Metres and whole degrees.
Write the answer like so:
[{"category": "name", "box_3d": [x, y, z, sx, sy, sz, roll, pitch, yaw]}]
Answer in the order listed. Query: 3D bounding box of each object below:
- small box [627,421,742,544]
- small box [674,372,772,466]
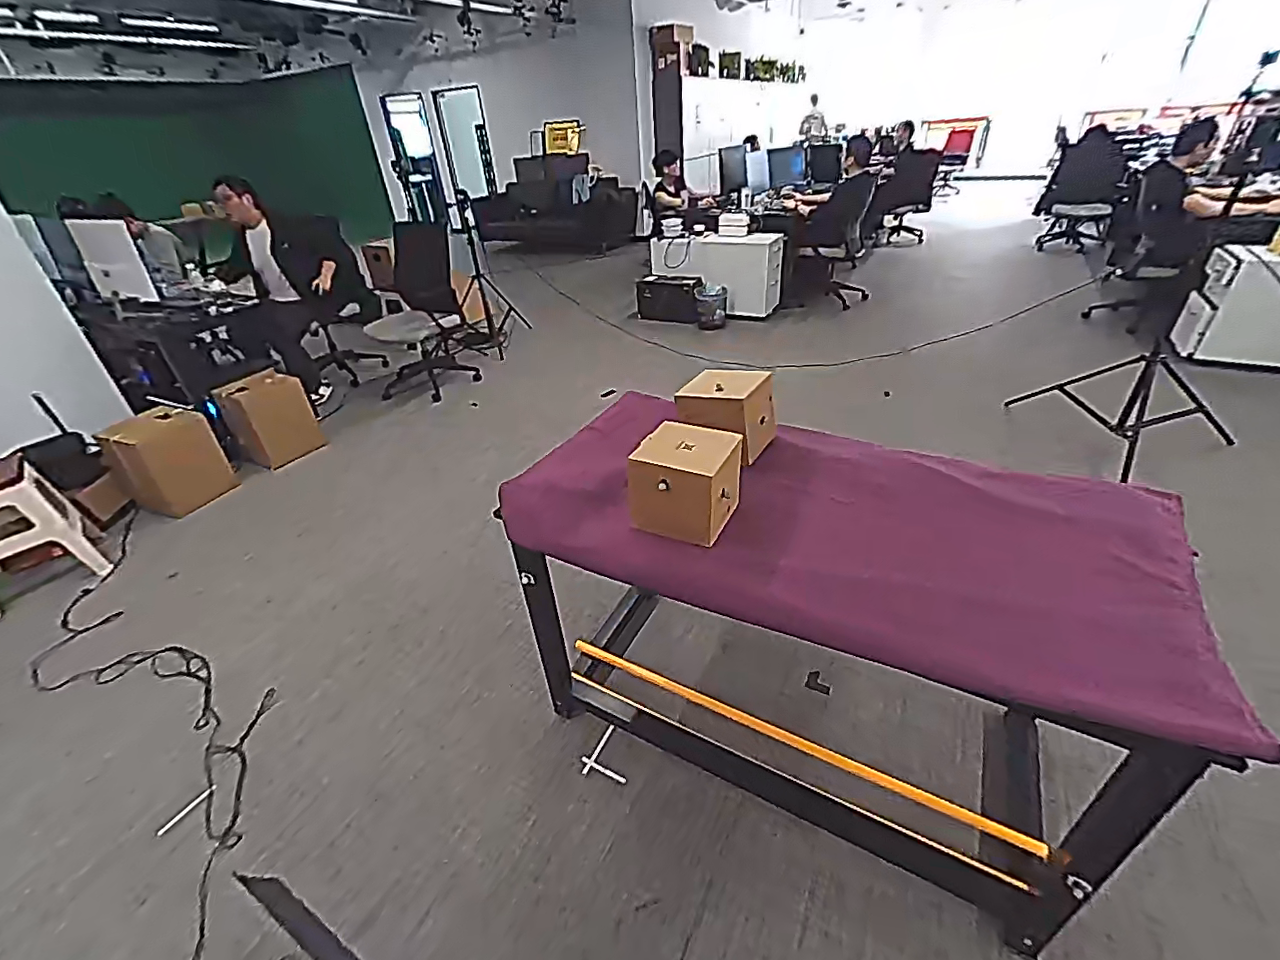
[{"category": "small box", "box_3d": [0.094, 0.005, 1.080, 0.179, 0.176, 0.168, 13, 37, 25]}, {"category": "small box", "box_3d": [0.204, -0.151, 1.279, 0.179, 0.168, 0.176, 9, 34, 33]}]
